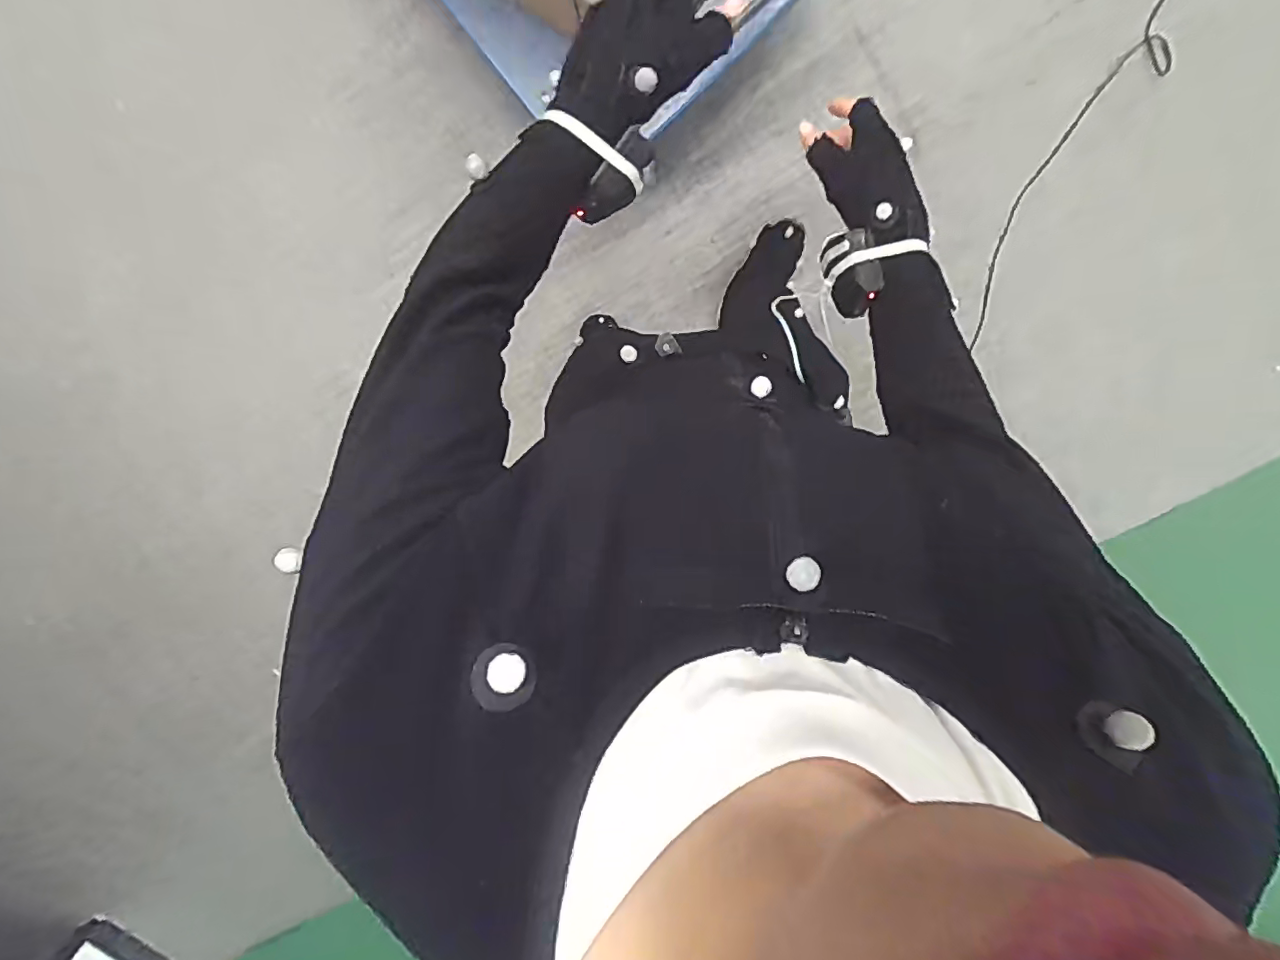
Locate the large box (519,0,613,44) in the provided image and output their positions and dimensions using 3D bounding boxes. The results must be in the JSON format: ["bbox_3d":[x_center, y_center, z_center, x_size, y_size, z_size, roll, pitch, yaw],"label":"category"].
[{"bbox_3d":[-0.131,-0.996,0.800,0.320,0.320,0.408,25,110,-9],"label":"large box"}]
